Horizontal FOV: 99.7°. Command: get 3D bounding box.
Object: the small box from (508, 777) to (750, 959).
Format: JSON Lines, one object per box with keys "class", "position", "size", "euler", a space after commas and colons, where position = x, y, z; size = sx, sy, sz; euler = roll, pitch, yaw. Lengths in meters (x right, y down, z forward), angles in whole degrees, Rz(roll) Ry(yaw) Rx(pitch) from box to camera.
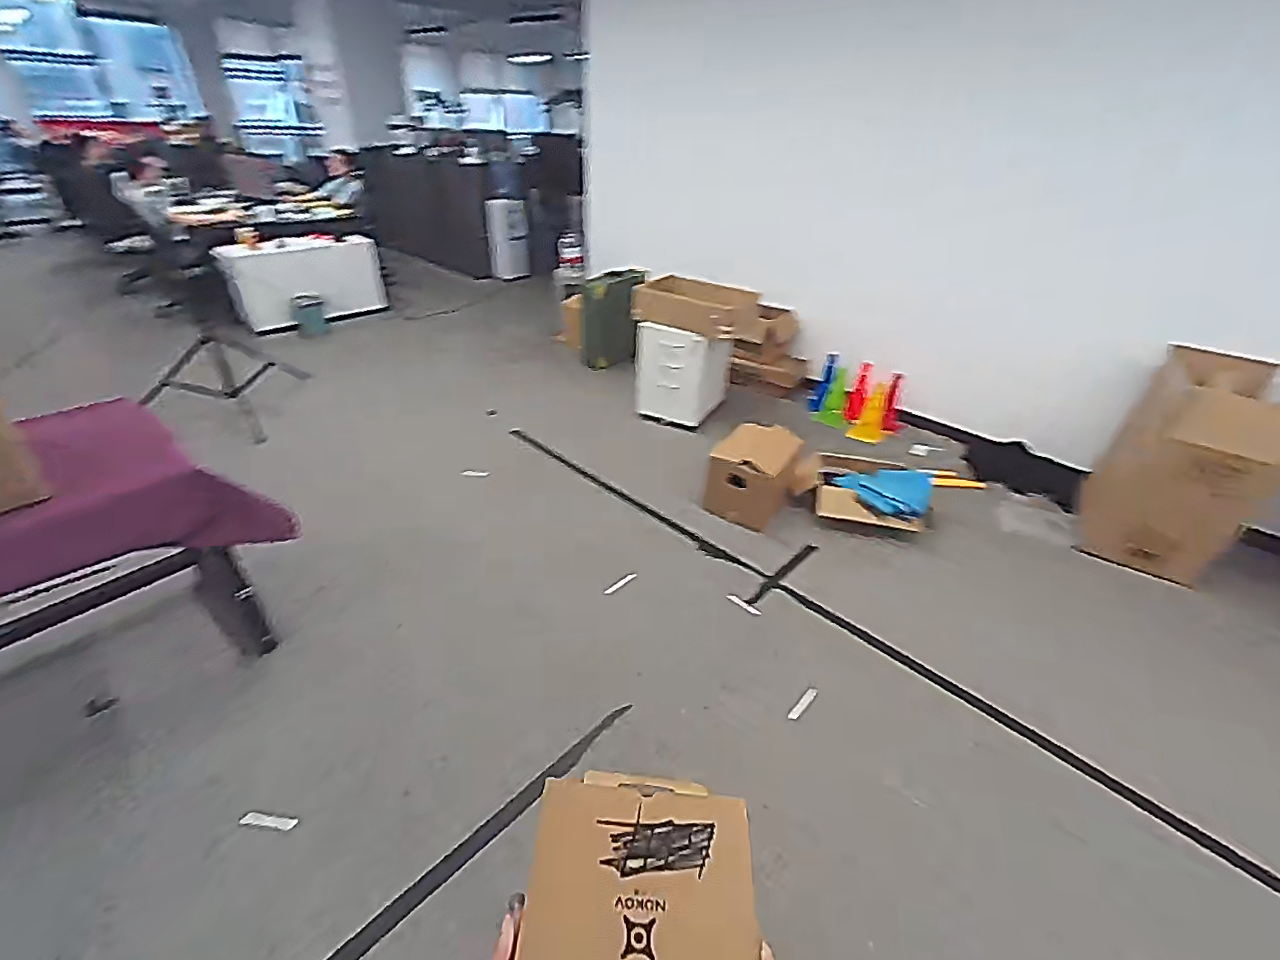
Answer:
{"class": "small box", "position": [-0.015, 0.367, 0.426], "size": [0.168, 0.176, 0.179], "euler": [6, 40, -3]}
